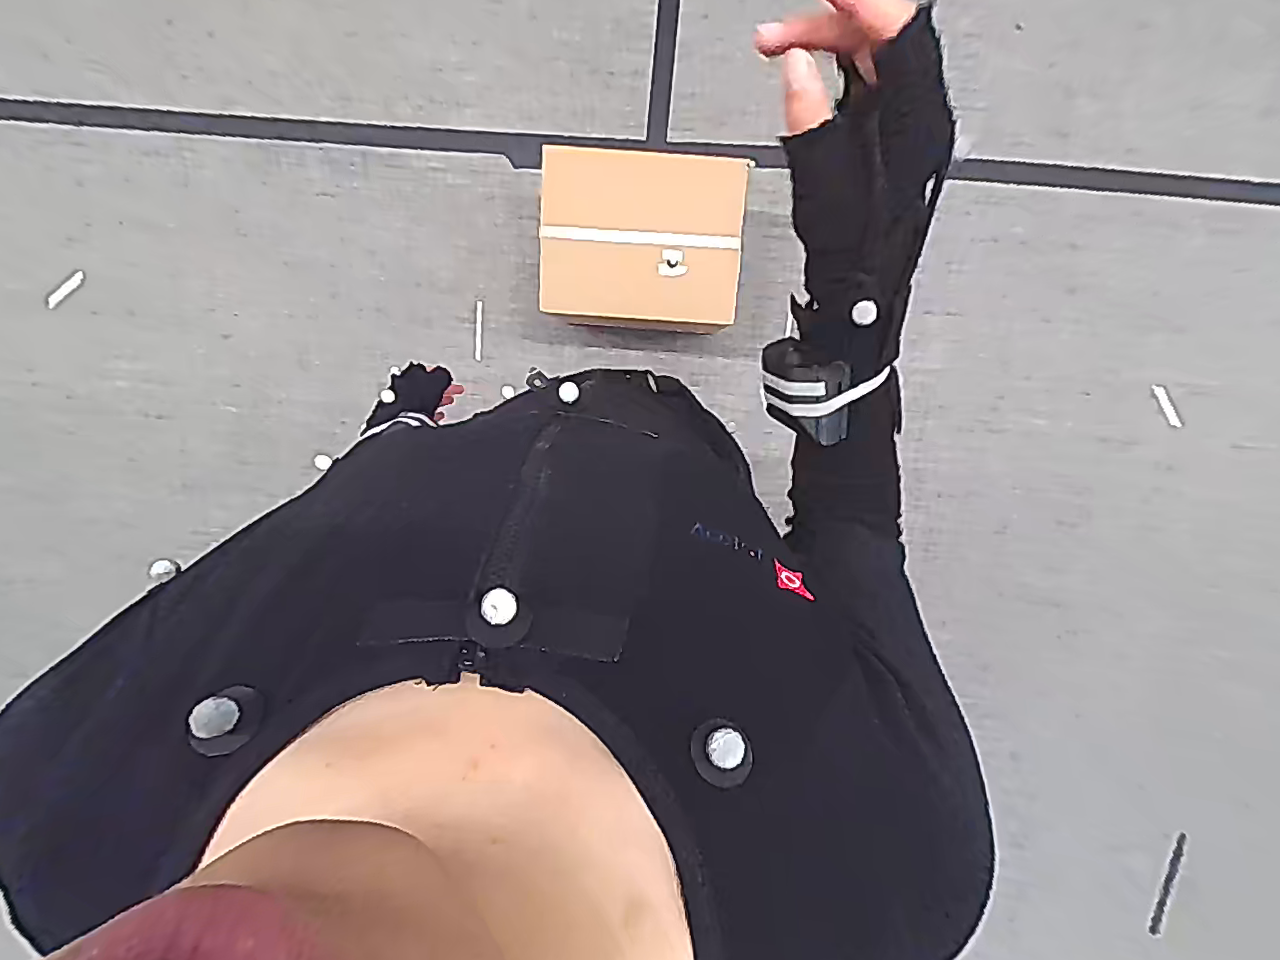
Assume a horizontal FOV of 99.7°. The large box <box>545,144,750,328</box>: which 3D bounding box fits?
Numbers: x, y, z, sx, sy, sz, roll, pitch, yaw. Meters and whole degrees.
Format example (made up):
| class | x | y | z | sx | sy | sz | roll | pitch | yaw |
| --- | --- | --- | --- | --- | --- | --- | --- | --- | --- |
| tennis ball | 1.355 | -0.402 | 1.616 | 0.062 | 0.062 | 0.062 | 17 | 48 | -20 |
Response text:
| class | x | y | z | sx | sy | sz | roll | pitch | yaw |
| --- | --- | --- | --- | --- | --- | --- | --- | --- | --- |
| large box | 0.008 | -0.522 | 1.225 | 0.408 | 0.320 | 0.320 | 3 | 103 | -1 |
